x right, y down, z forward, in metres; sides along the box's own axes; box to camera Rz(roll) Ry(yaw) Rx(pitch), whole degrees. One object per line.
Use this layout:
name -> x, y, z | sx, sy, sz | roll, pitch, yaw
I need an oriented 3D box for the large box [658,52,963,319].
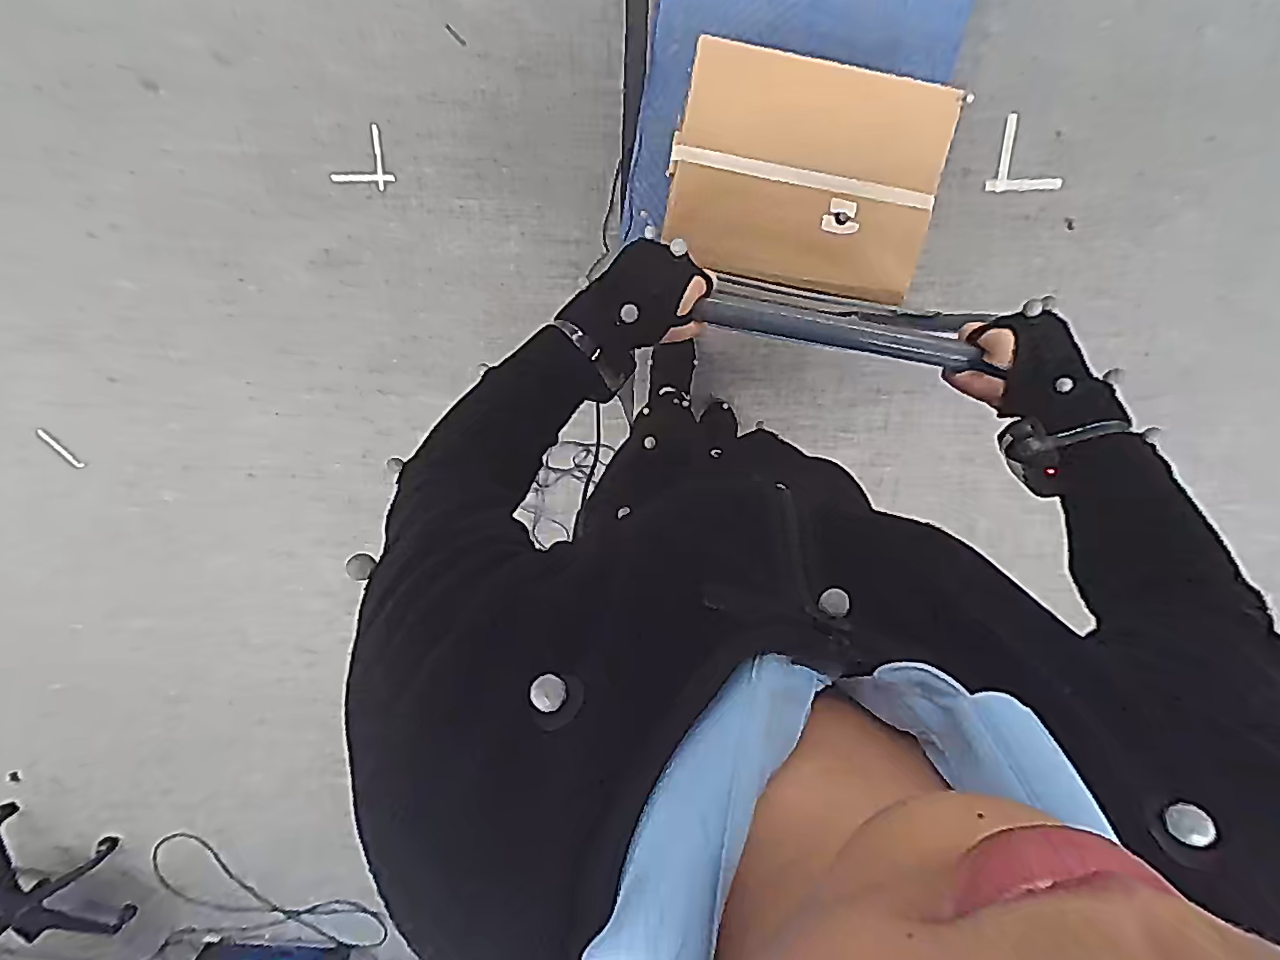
large box -> 0.255, -0.481, 0.967 | 0.408, 0.320, 0.320 | 10, 106, -3
